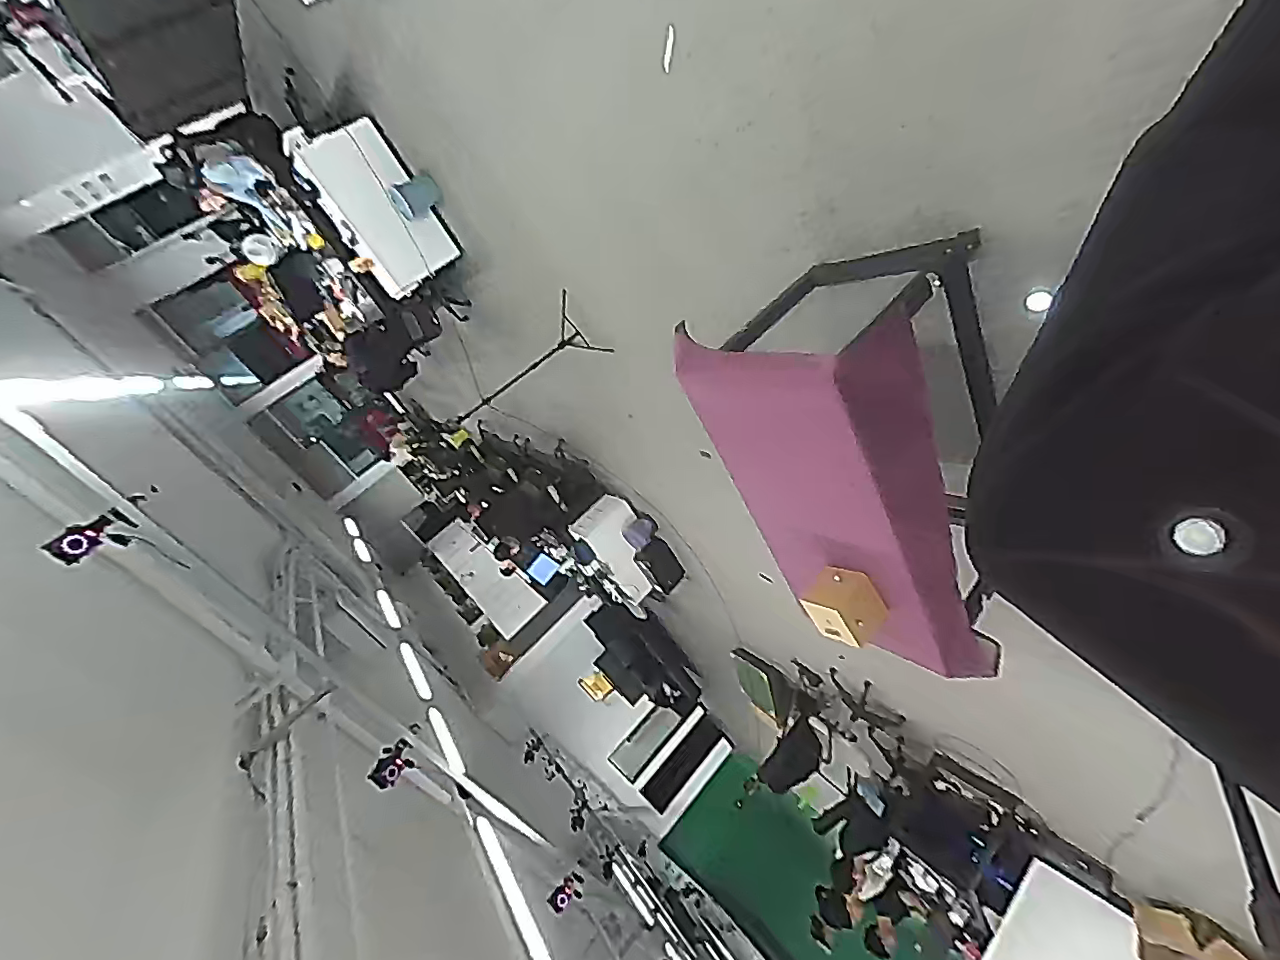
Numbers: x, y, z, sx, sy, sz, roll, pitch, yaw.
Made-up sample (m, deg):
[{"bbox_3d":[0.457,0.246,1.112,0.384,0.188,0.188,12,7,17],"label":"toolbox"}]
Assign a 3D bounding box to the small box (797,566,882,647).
[{"bbox_3d":[0.663,0.413,1.786,0.179,0.176,0.168,54,159,-18],"label":"small box"}]
